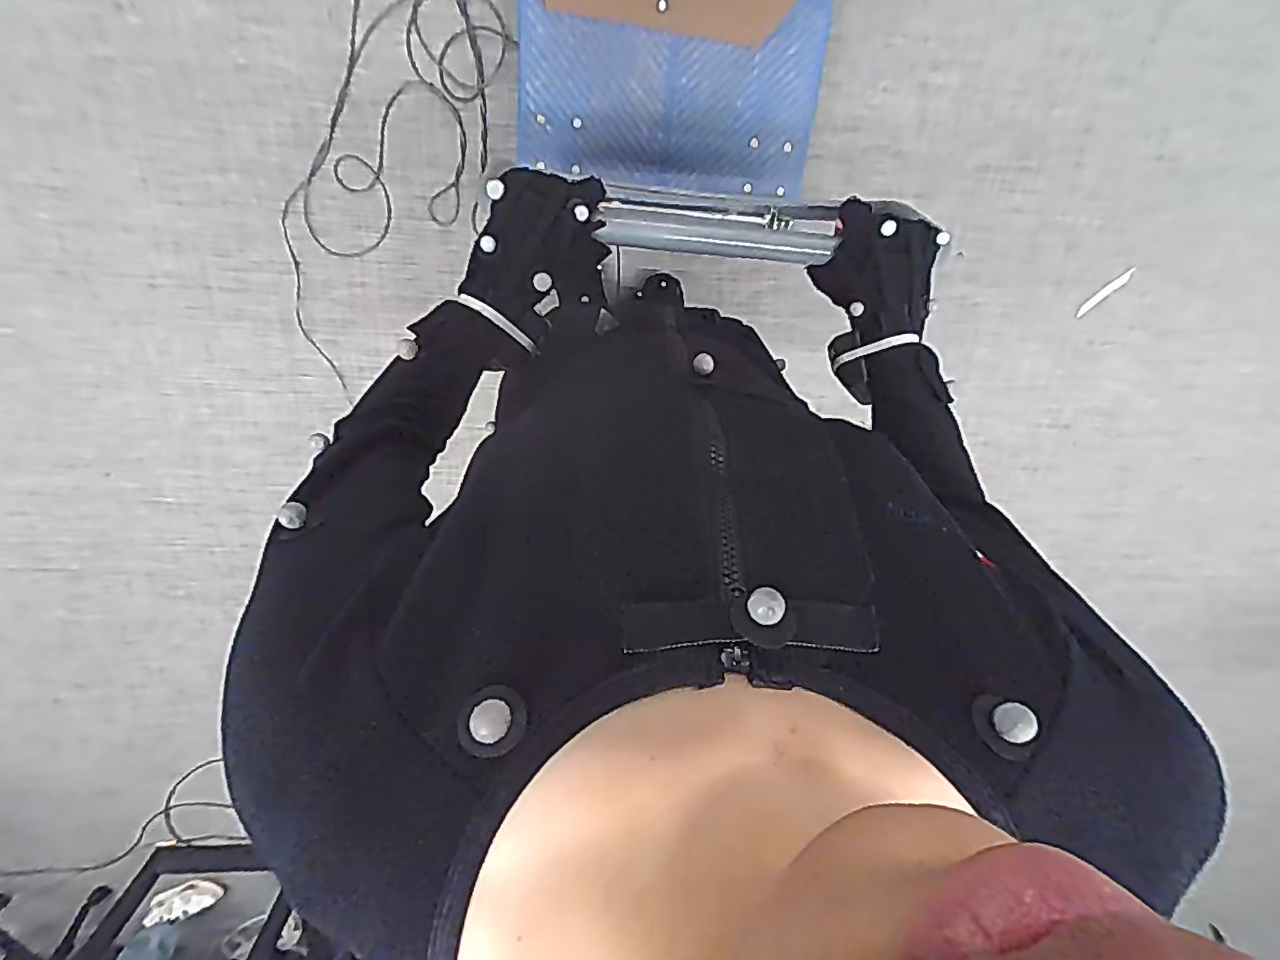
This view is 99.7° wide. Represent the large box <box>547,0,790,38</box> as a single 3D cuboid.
[{"bbox_3d":[0.053,-0.918,0.805,0.408,0.320,0.320,5,113,-5],"label":"large box"}]
